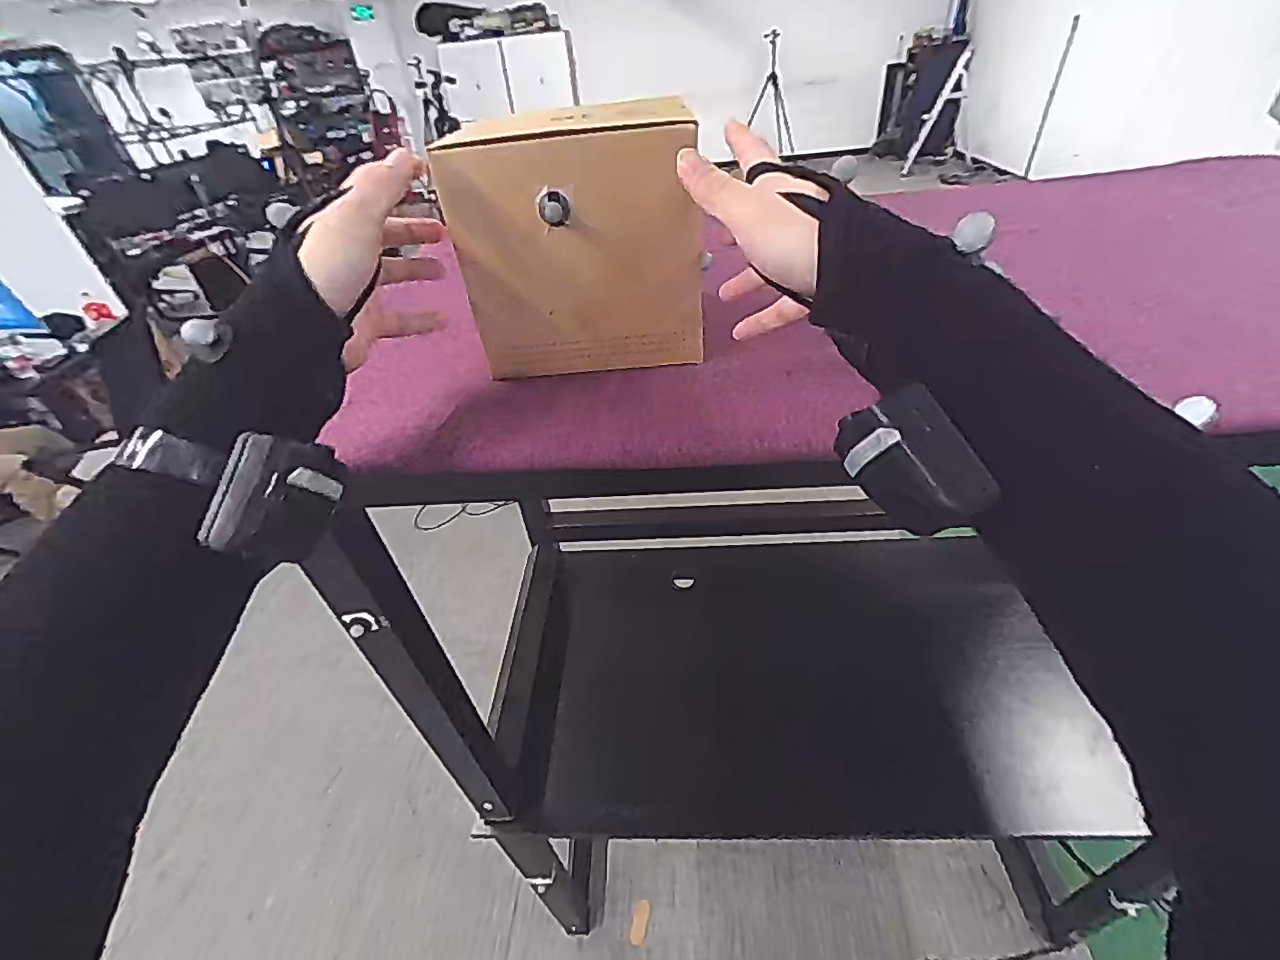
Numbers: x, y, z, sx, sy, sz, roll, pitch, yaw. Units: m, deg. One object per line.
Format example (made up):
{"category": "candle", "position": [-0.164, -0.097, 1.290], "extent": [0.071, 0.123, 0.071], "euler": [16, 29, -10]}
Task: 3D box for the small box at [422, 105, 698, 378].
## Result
{"category": "small box", "position": [-0.047, -0.197, 0.453], "extent": [0.179, 0.176, 0.168], "euler": [-4, 40, 3]}
